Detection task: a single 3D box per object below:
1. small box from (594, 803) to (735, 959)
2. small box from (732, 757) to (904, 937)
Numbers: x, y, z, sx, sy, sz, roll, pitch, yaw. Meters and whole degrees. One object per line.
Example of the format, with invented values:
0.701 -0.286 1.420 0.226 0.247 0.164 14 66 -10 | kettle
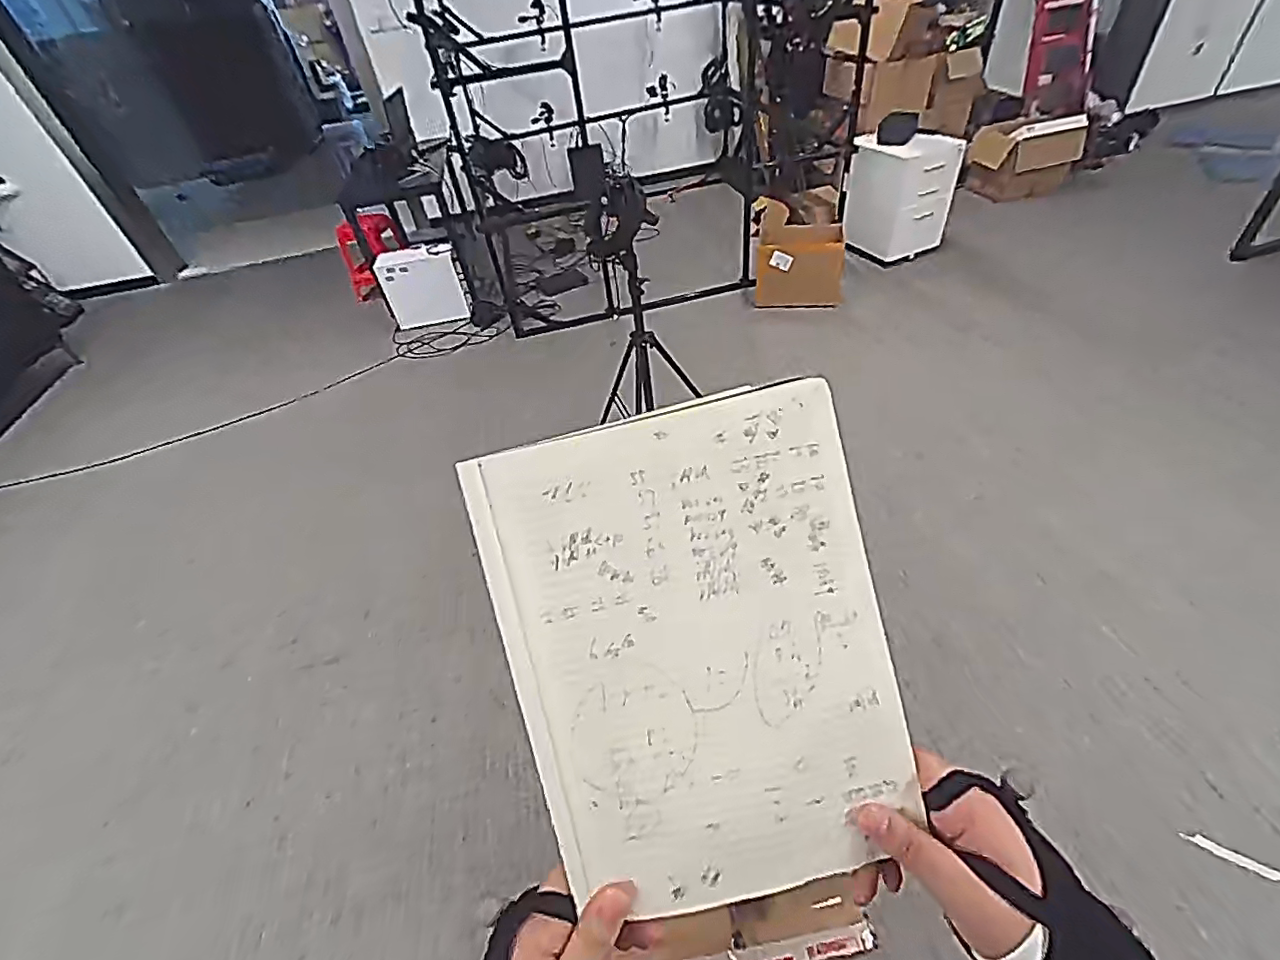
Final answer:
0.035 0.588 0.781 0.179 0.176 0.168 -10 45 2 | small box
0.246 0.541 0.797 0.179 0.176 0.168 -14 45 -6 | small box
